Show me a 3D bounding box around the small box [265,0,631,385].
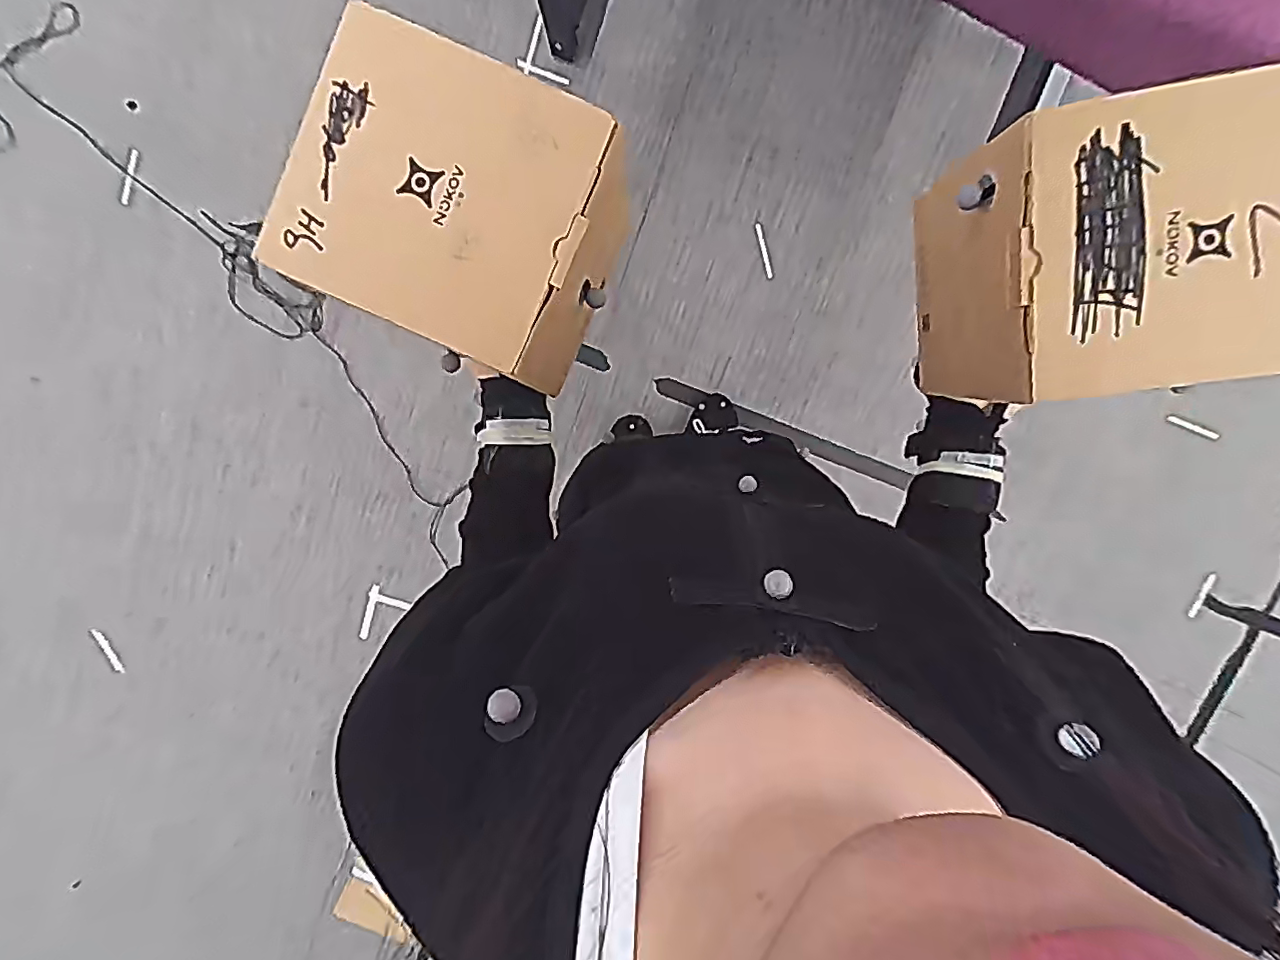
[{"bbox_3d":[-0.116,-0.180,0.402,0.179,0.176,0.168,24,94,-2],"label":"small box"}]
